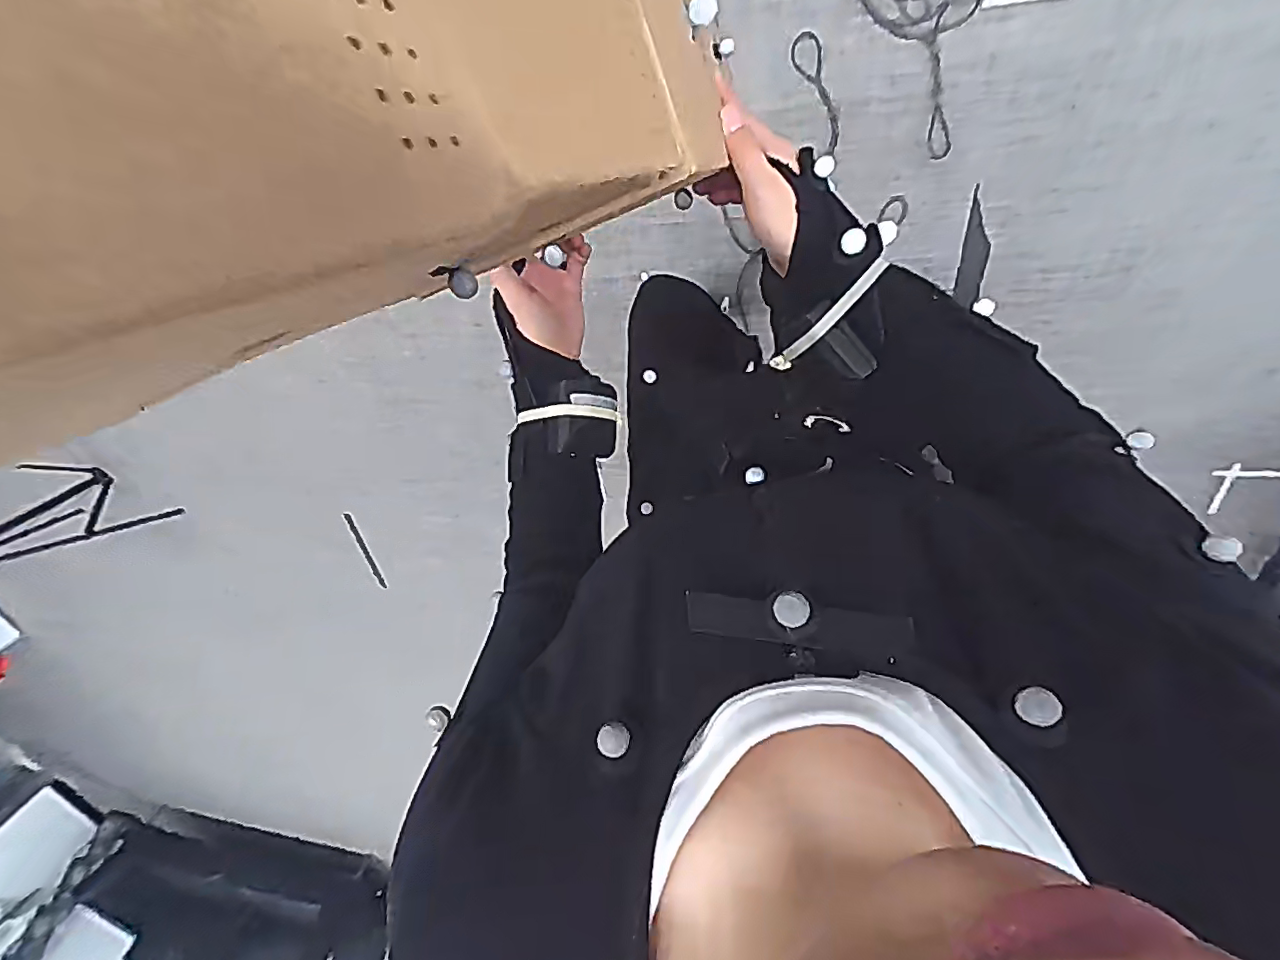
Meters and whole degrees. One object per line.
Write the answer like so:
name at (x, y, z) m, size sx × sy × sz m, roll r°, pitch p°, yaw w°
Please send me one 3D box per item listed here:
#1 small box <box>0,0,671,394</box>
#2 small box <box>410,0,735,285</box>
small box at (-0.106, -0.154, 0.162) m, size 0.168 × 0.176 × 0.179 m, roll -13°, pitch 117°, yaw 24°
small box at (-0.059, -0.229, 0.298) m, size 0.179 × 0.176 × 0.168 m, roll -12°, pitch 117°, yaw 23°
